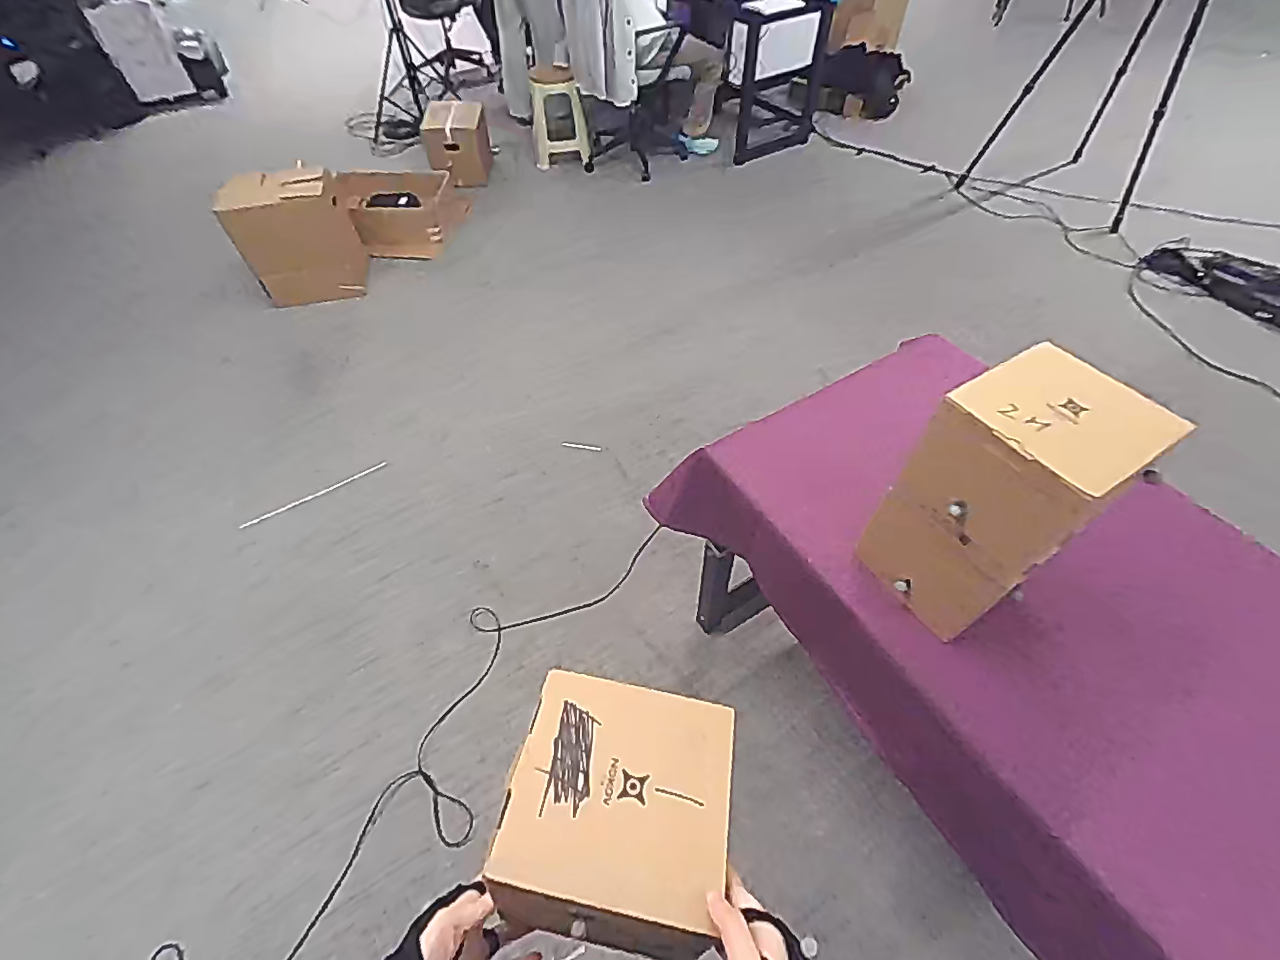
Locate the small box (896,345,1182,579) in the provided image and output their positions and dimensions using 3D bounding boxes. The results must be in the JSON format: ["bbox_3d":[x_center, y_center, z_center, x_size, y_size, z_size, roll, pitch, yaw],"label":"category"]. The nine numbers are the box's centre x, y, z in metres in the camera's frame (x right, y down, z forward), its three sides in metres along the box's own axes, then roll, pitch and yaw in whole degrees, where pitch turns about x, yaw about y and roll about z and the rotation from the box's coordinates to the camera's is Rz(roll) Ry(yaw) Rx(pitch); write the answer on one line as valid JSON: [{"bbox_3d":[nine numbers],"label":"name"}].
[{"bbox_3d":[0.436,-0.019,0.625,0.179,0.176,0.168,-26,56,-18],"label":"small box"}]

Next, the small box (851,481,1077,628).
[{"bbox_3d":[0.434,0.084,0.755,0.168,0.176,0.179,-27,58,-19],"label":"small box"}]

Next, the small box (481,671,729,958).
[{"bbox_3d":[-0.025,0.307,0.496,0.179,0.176,0.168,11,43,4],"label":"small box"}]
